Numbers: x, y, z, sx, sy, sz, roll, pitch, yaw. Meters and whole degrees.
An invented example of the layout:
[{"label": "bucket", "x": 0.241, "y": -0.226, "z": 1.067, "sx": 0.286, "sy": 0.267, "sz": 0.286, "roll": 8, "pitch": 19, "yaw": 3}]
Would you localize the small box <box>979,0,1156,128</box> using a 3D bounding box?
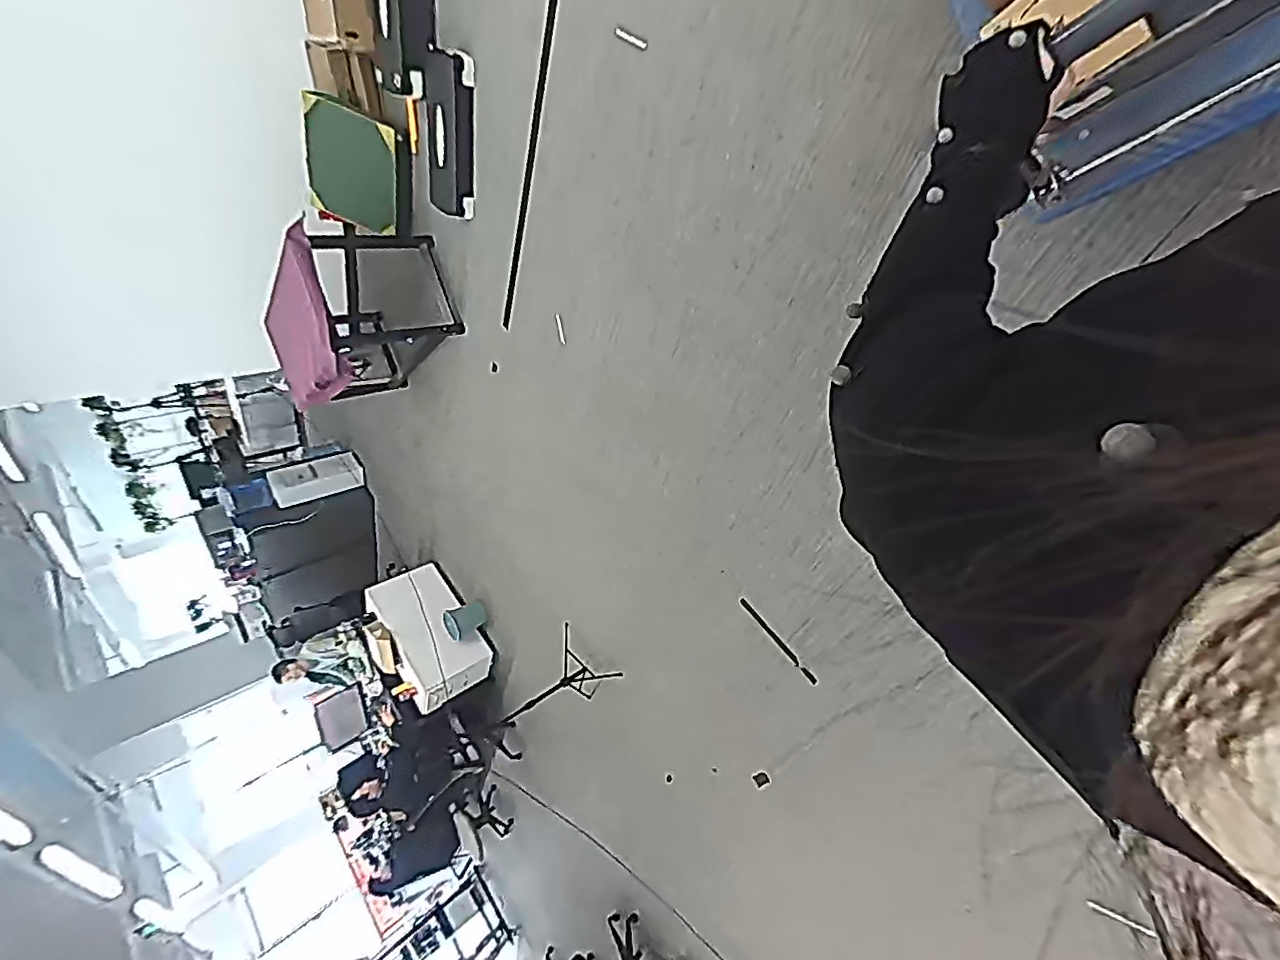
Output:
[{"label": "small box", "x": 0.685, "y": -0.700, "z": 0.865, "sx": 0.168, "sy": 0.176, "sz": 0.179, "roll": -25, "pitch": 89, "yaw": 49}]
